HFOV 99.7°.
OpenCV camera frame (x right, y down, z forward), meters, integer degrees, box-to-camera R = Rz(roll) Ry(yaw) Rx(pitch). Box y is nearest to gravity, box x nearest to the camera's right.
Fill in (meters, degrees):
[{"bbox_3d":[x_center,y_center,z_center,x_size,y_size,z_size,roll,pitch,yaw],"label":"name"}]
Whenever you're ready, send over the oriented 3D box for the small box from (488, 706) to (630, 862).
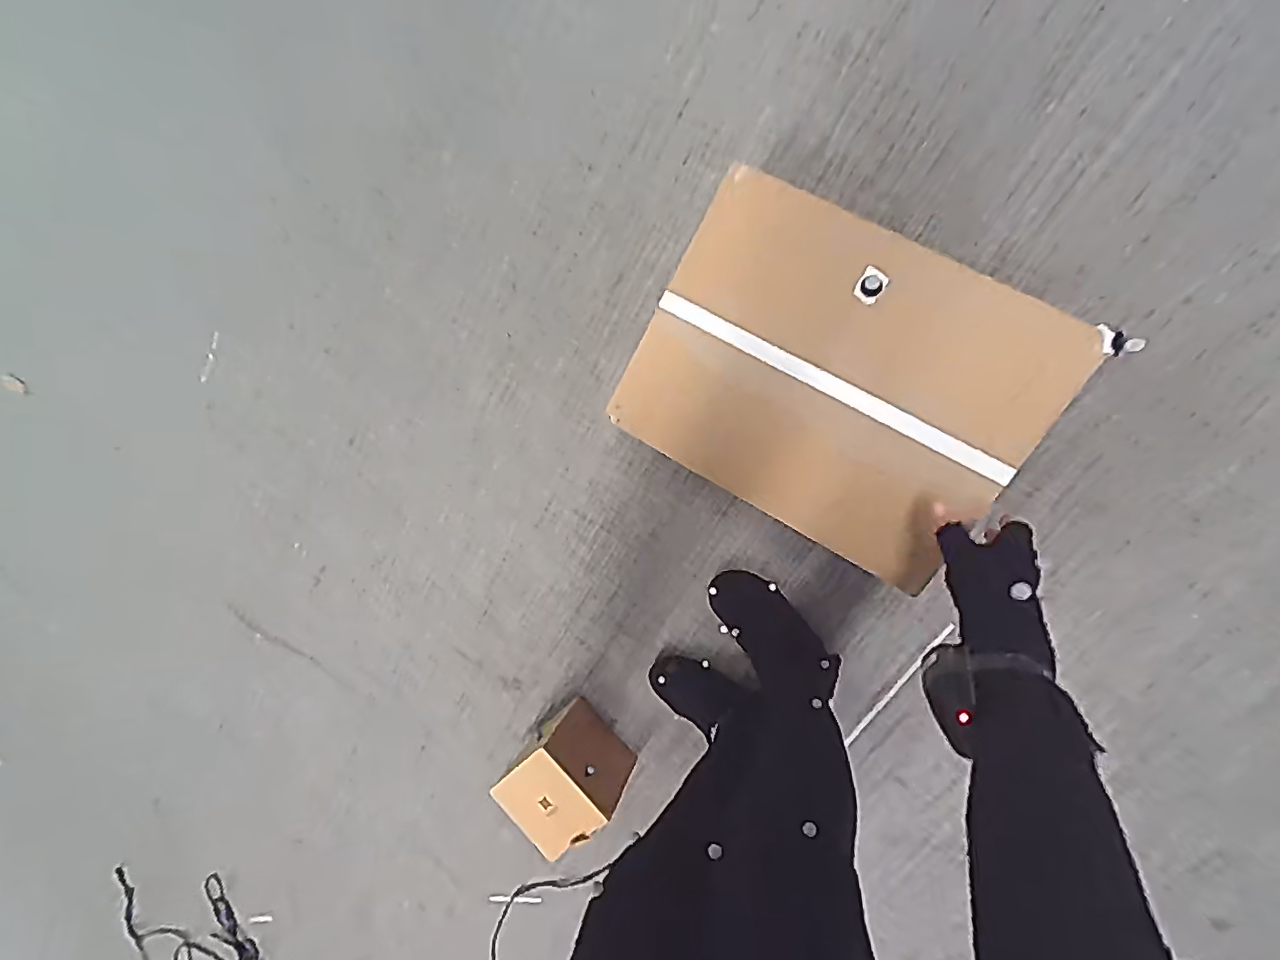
[{"bbox_3d":[-0.148,0.568,1.040,0.179,0.176,0.168,46,109,3],"label":"small box"}]
